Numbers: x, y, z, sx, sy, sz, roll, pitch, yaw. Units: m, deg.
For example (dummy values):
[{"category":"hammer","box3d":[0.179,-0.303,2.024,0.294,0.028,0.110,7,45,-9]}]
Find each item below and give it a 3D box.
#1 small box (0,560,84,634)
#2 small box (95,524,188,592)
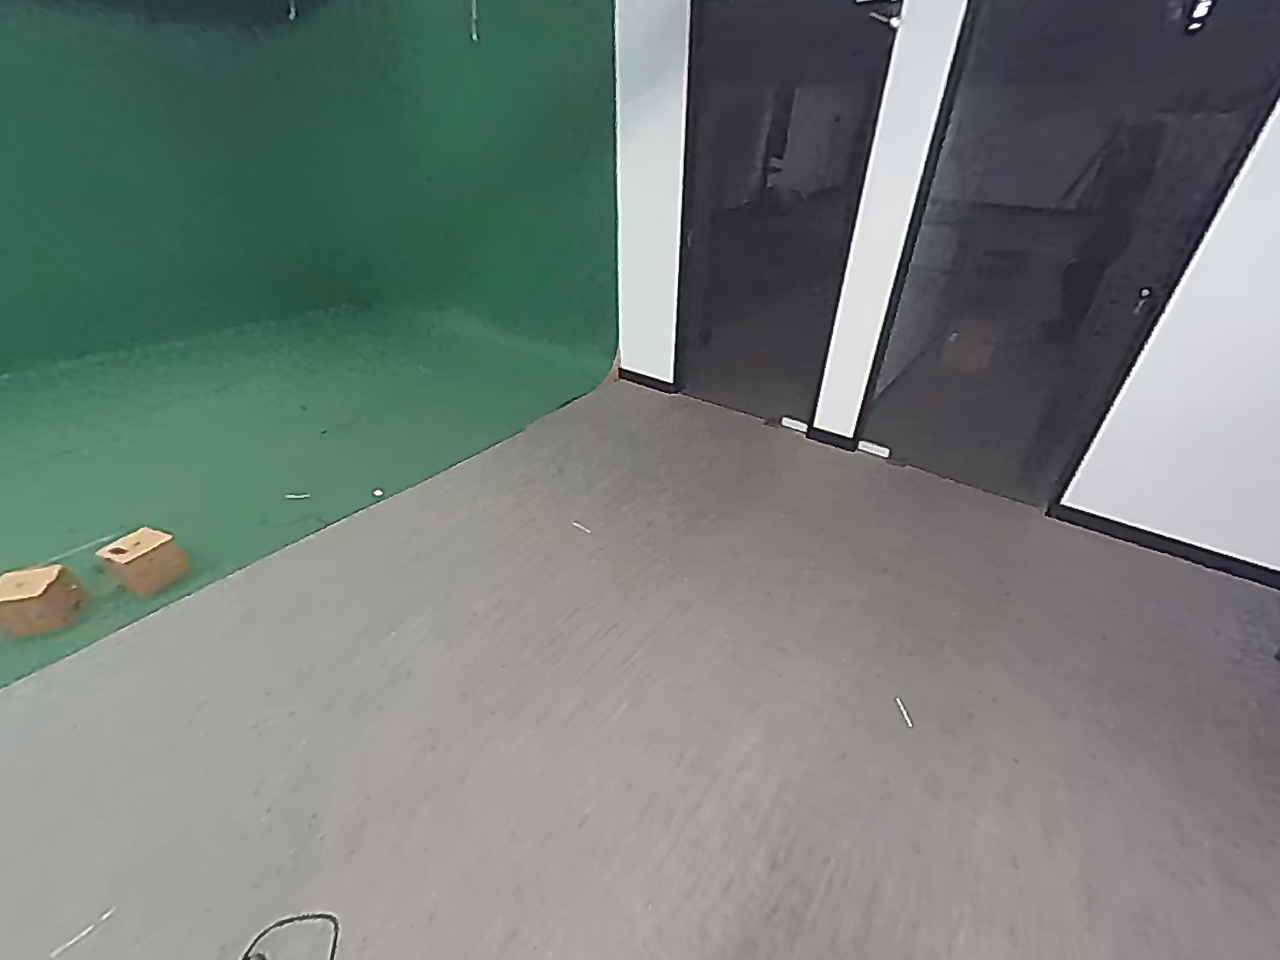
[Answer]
[{"category":"small box","box3d":[-2.130,0.410,1.897,0.179,0.176,0.168,-9,35,-15]},{"category":"small box","box3d":[-1.902,0.300,2.072,0.168,0.176,0.179,14,35,17]}]
